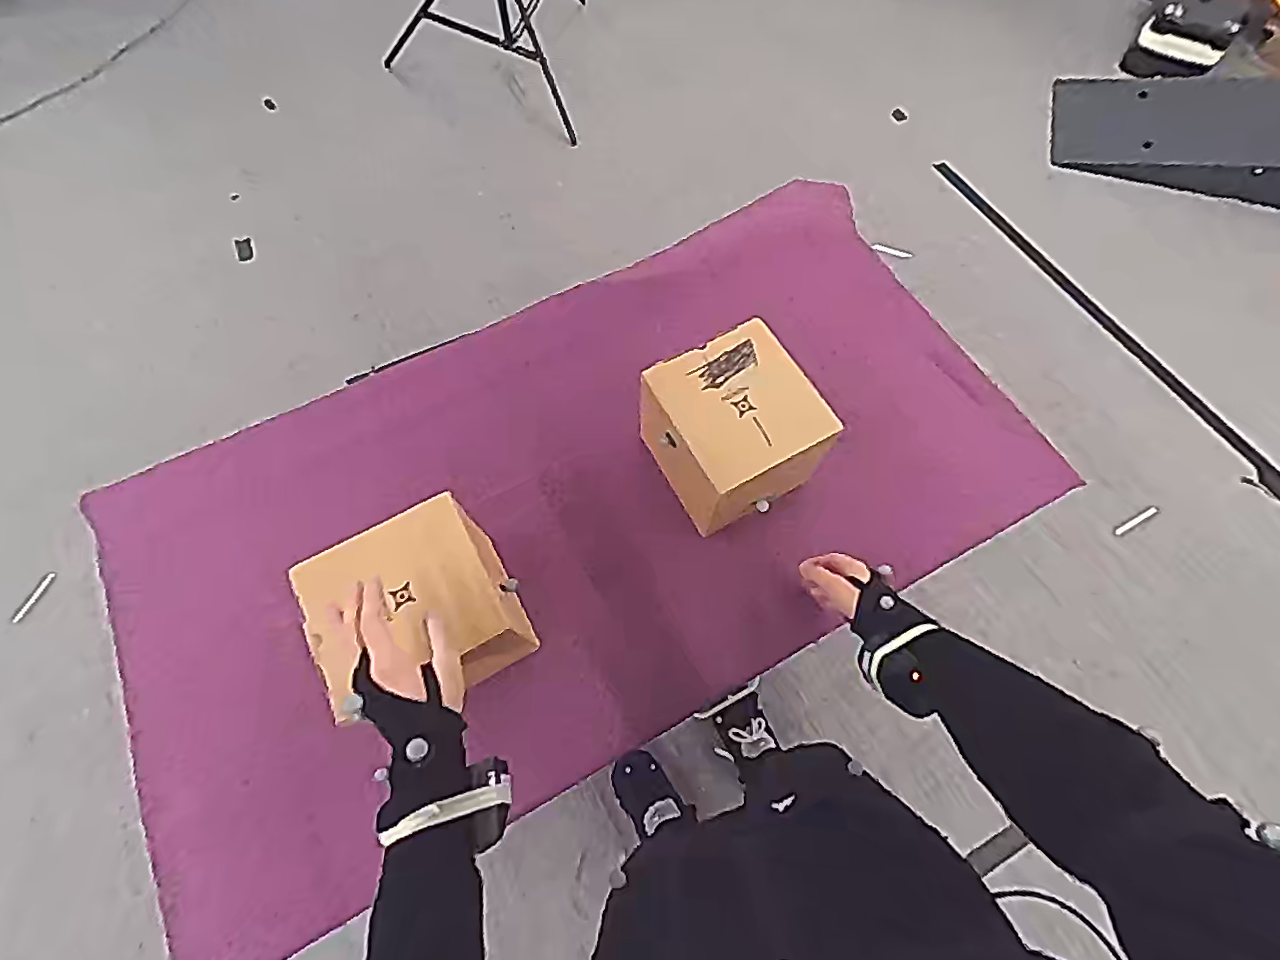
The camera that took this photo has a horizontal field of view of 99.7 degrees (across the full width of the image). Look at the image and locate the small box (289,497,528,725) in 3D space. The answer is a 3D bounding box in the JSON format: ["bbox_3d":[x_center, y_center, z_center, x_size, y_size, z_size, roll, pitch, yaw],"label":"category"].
[{"bbox_3d":[-0.240,0.149,0.608,0.179,0.176,0.168,-28,70,-10],"label":"small box"}]

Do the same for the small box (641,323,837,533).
[{"bbox_3d":[0.109,-0.058,0.689,0.168,0.176,0.179,-27,71,-10],"label":"small box"}]
